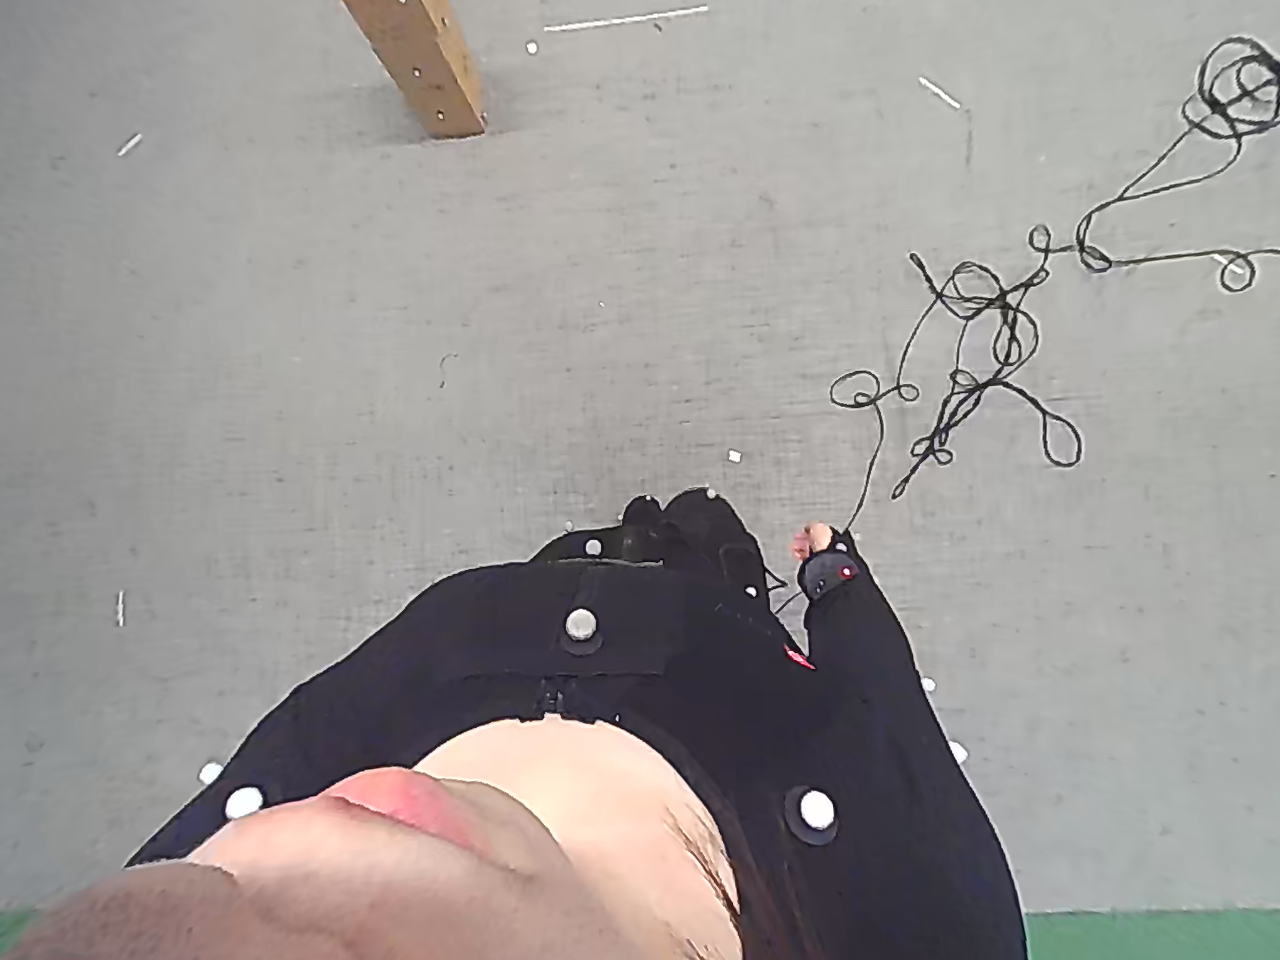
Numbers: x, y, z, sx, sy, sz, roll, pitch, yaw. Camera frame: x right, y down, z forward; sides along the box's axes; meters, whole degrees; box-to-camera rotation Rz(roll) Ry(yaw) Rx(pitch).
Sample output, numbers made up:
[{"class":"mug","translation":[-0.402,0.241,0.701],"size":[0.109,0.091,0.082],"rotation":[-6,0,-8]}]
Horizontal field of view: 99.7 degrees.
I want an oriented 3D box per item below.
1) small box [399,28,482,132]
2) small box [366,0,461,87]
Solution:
[{"class":"small box","translation":[-0.545,-1.102,1.498],"size":[0.179,0.176,0.168],"rotation":[-2,88,5]},{"class":"small box","translation":[-0.550,-1.109,1.333],"size":[0.168,0.176,0.179],"rotation":[-2,88,3]}]
